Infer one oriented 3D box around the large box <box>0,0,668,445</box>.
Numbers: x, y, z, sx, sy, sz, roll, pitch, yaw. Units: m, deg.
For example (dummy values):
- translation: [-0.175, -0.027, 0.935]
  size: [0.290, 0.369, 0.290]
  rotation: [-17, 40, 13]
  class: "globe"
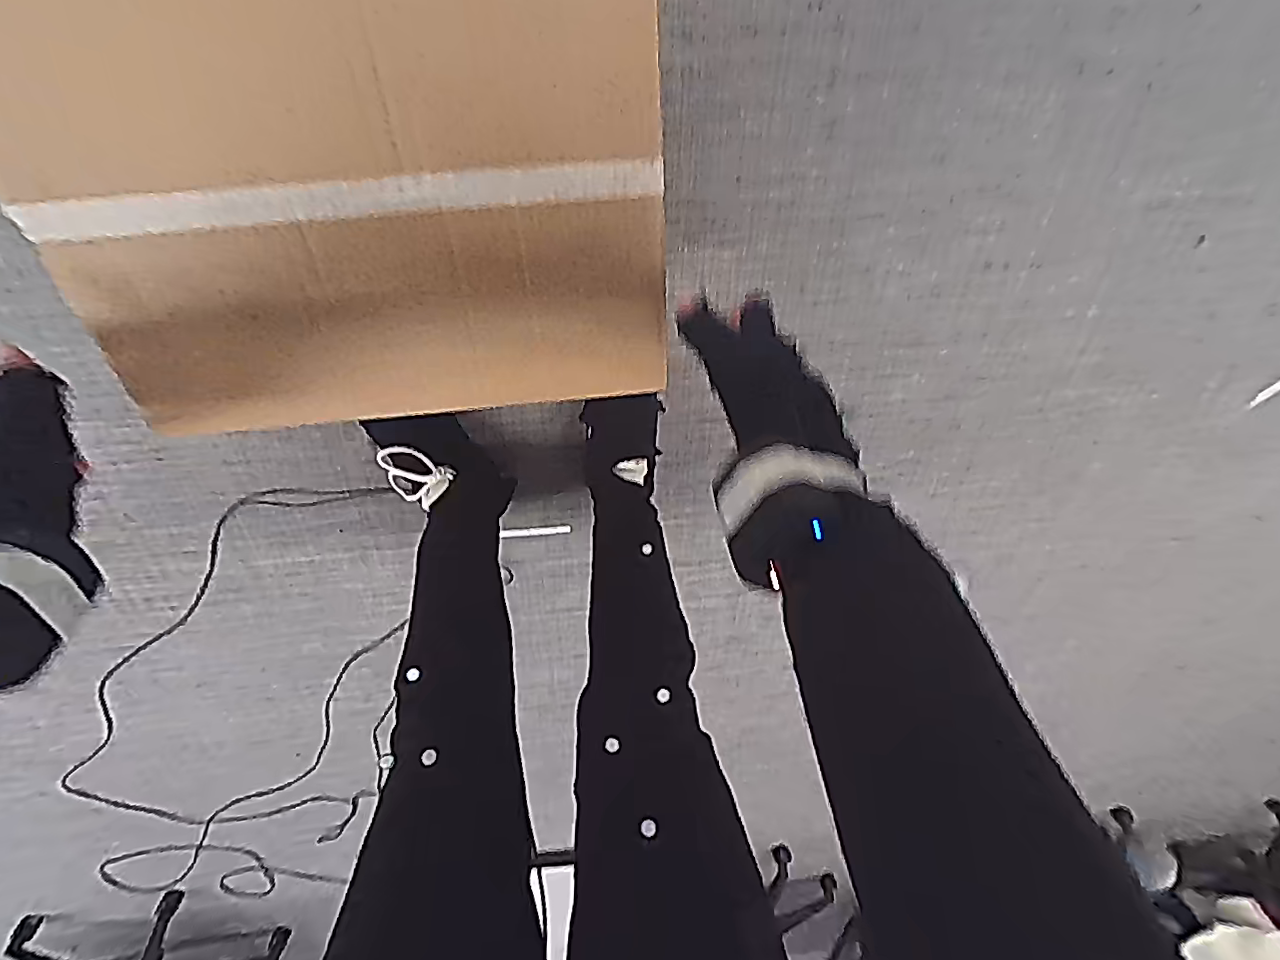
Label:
- translation: [-0.201, -0.258, 0.480]
  size: [0.408, 0.320, 0.320]
  rotation: [-6, 126, -4]
  class: "large box"
